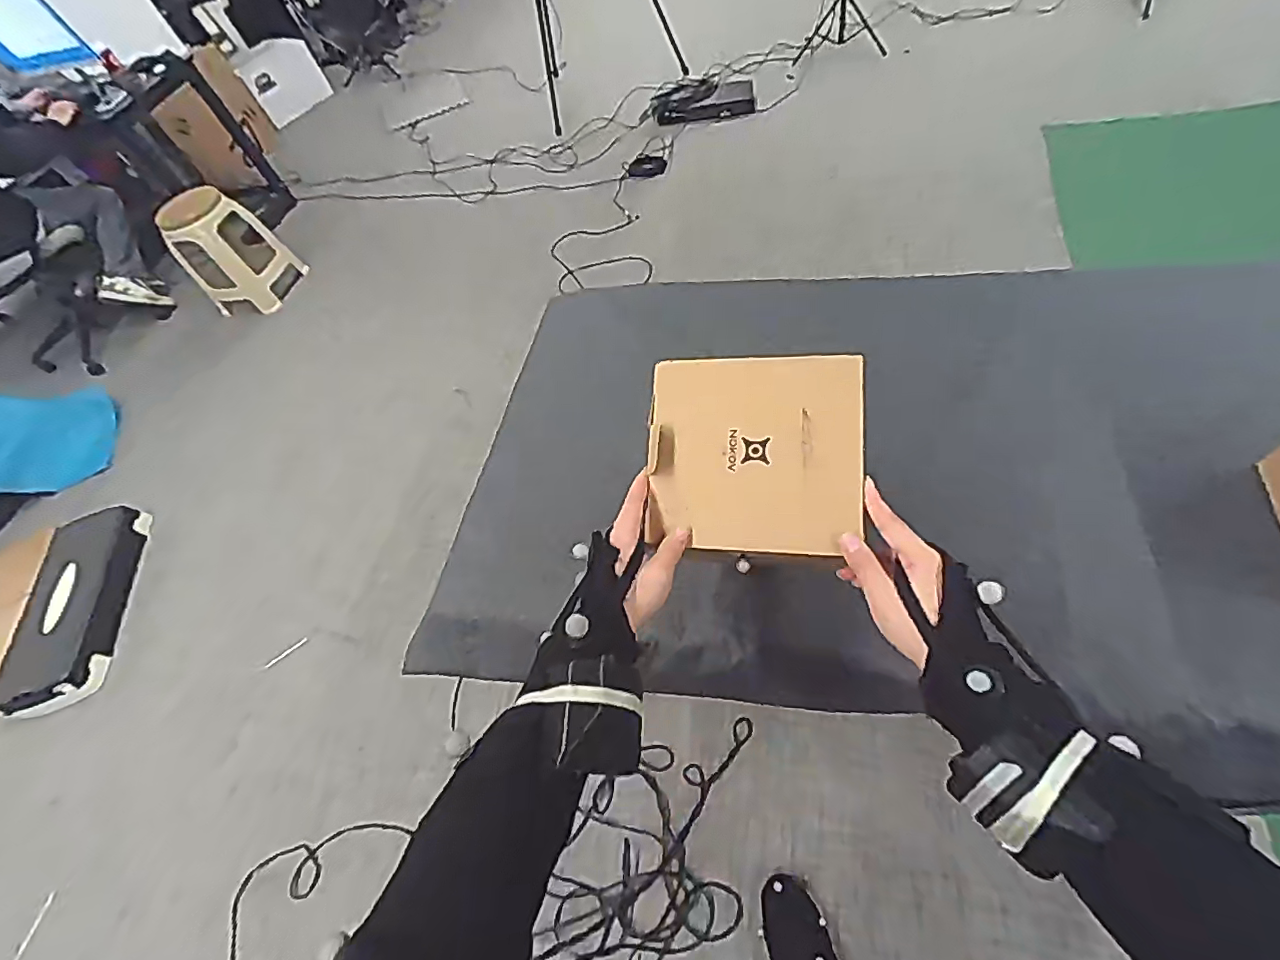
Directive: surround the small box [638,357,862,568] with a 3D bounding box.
[{"bbox_3d":[0.106,-0.007,0.519,0.179,0.176,0.168,2,78,13],"label":"small box"}]
